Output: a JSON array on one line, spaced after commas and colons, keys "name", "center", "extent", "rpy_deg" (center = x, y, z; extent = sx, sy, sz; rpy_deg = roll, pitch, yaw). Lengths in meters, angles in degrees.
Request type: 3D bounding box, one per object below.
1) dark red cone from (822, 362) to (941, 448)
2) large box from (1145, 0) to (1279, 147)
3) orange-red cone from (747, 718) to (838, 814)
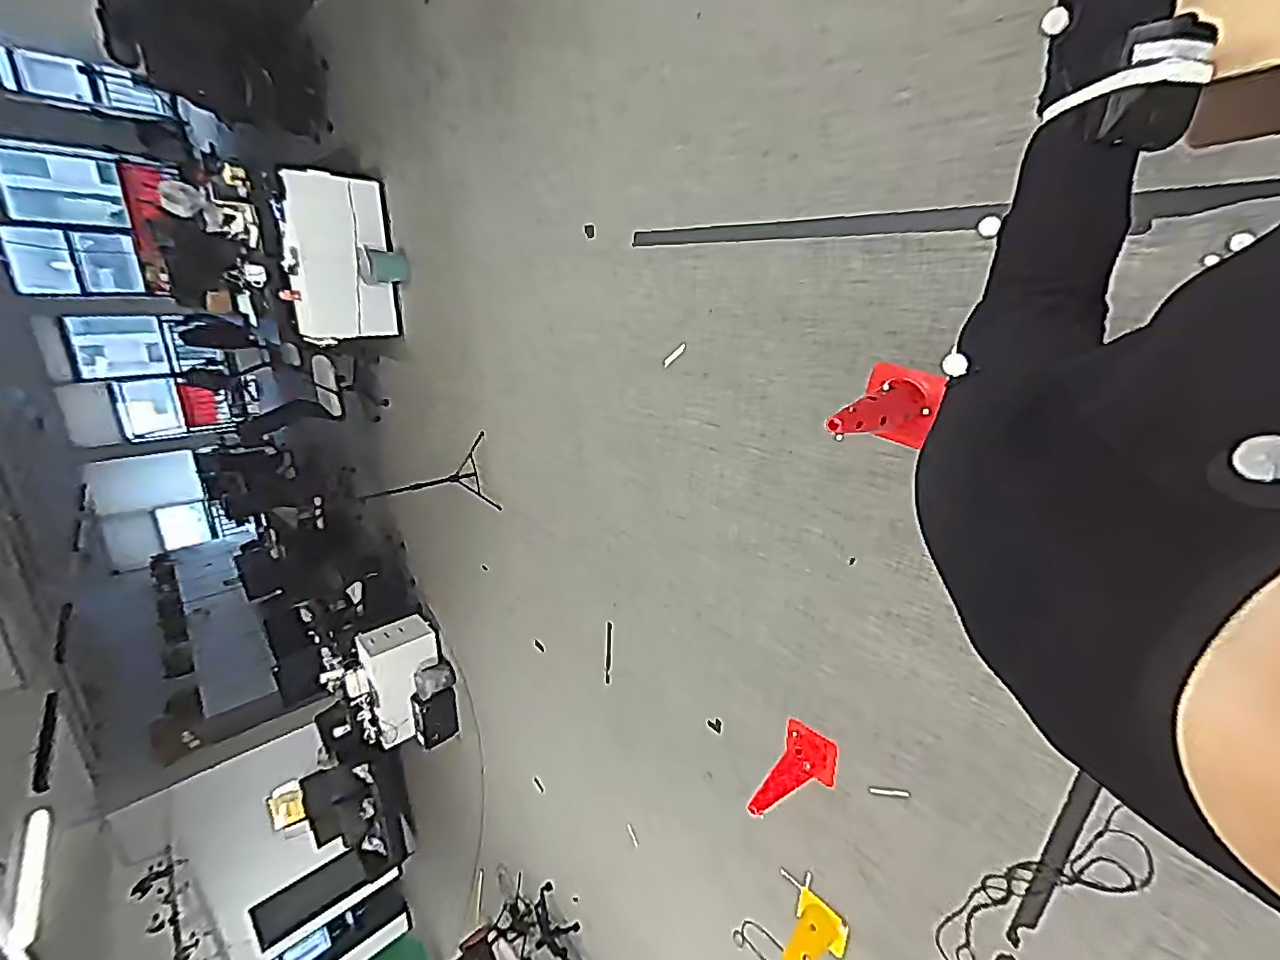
[{"name": "dark red cone", "center": [0.563, -0.168, 1.339], "extent": [0.201, 0.394, 0.202], "rpy_deg": [28, 123, 40]}, {"name": "large box", "center": [0.592, -0.427, 0.297], "extent": [0.408, 0.320, 0.320], "rpy_deg": [15, 116, 46]}, {"name": "orange-red cone", "center": [0.494, 1.024, 1.855], "extent": [0.198, 0.360, 0.199], "rpy_deg": [20, 118, 45]}]
